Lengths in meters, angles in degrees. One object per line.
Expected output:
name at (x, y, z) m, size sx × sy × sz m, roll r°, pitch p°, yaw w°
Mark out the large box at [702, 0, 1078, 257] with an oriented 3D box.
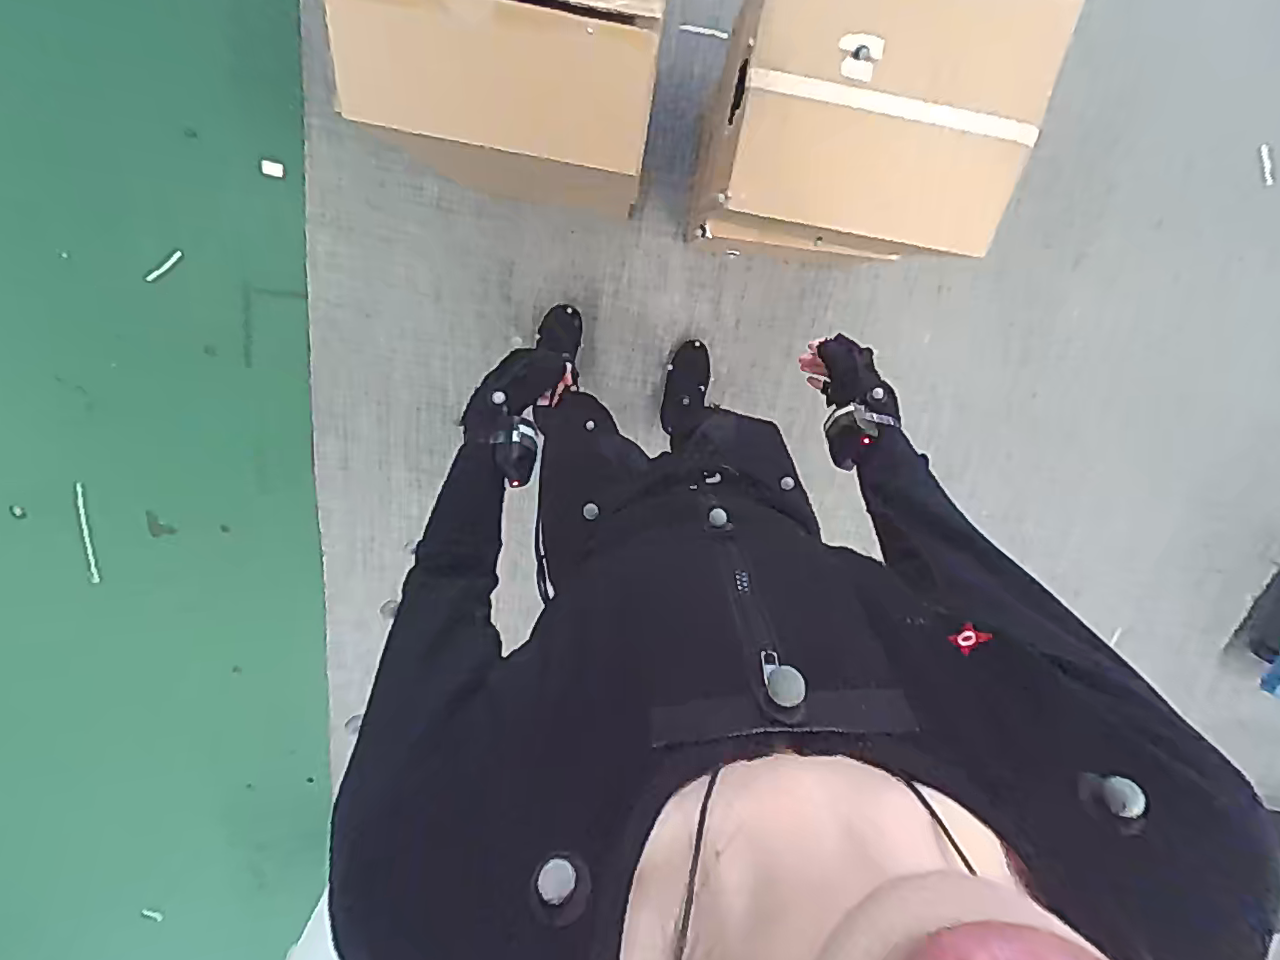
large box at (0.337, -0.554, 0.862) m, size 0.408 × 0.320 × 0.320 m, roll 9°, pitch 113°, yaw -3°
